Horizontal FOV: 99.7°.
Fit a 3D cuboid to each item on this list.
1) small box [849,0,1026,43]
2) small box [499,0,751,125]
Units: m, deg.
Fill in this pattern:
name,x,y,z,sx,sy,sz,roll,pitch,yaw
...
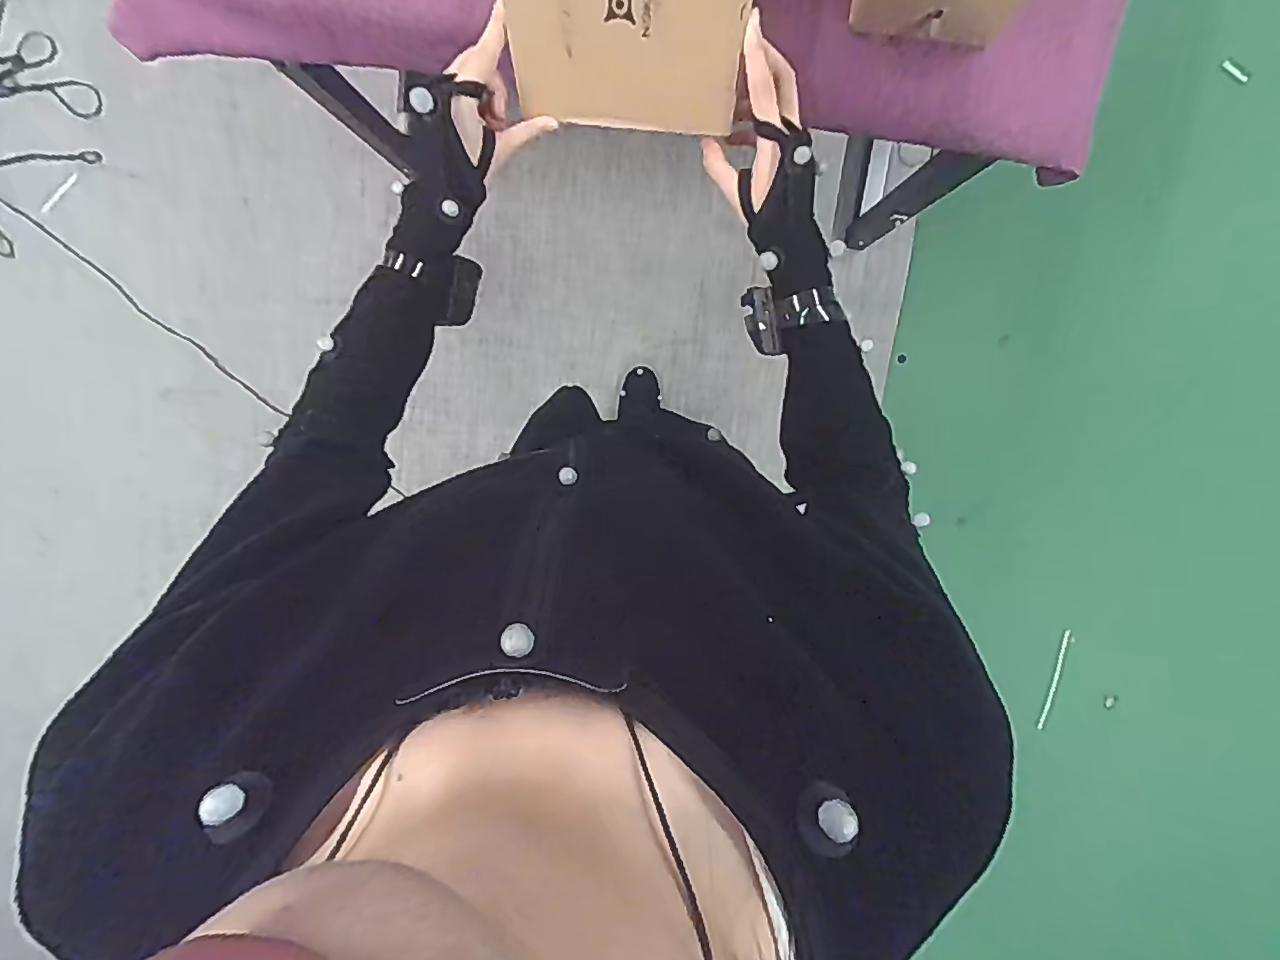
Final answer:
name,x,y,z,sx,sy,sz,roll,pitch,yaw
small box,0.345,-0.603,0.564,0.179,0.176,0.168,8,98,1
small box,-0.003,-0.401,0.398,0.179,0.168,0.176,7,62,1
